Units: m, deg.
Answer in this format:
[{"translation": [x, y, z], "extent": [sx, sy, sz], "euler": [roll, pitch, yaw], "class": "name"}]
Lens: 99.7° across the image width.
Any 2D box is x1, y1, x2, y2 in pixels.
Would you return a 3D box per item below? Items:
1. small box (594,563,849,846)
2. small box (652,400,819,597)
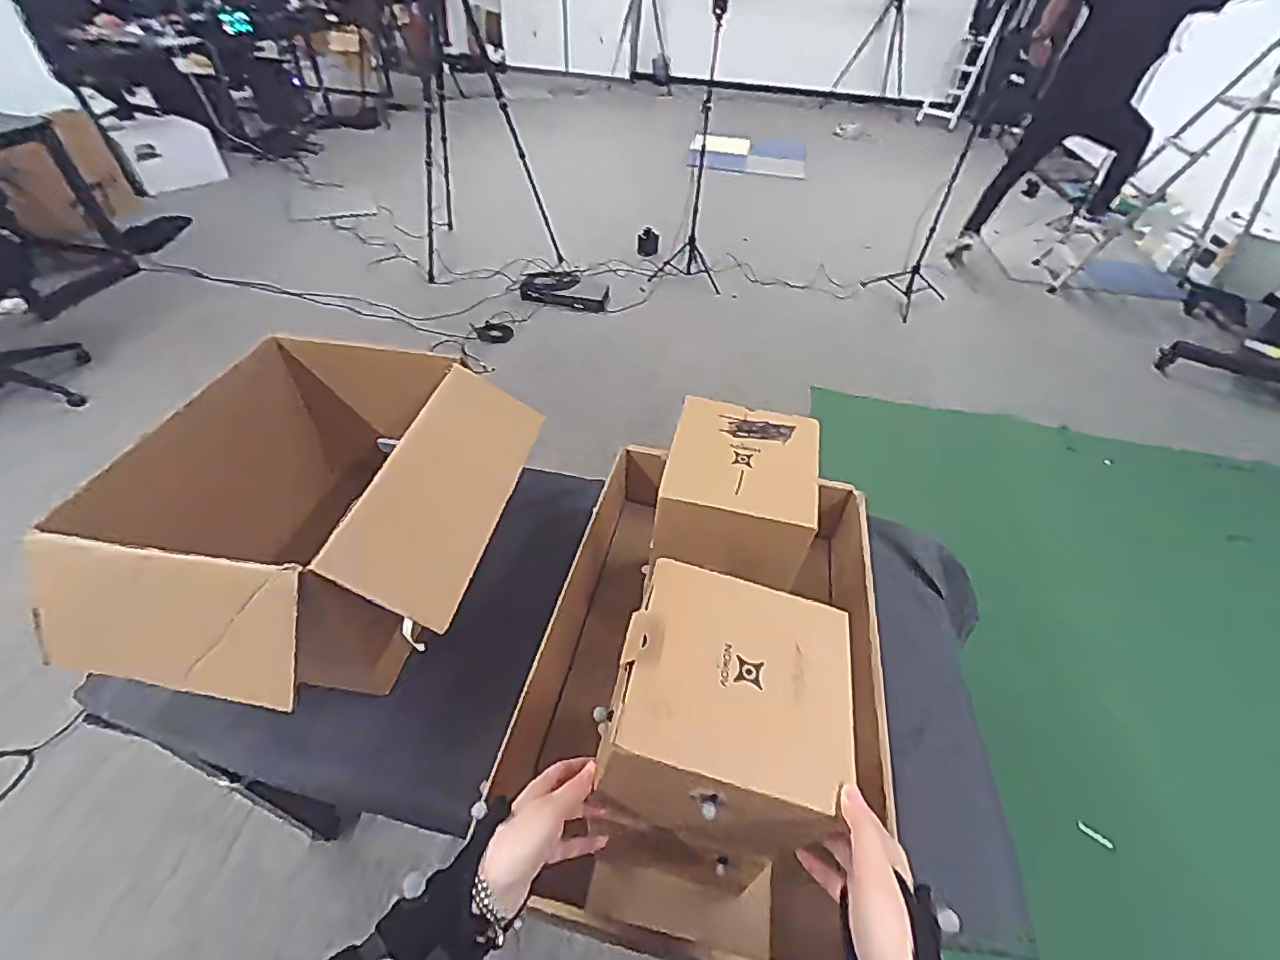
[{"translation": [0.066, 0.206, 0.487], "extent": [0.179, 0.176, 0.168], "euler": [17, 48, 1], "class": "small box"}, {"translation": [0.114, 0.031, 0.670], "extent": [0.168, 0.176, 0.179], "euler": [12, 49, 7], "class": "small box"}]
